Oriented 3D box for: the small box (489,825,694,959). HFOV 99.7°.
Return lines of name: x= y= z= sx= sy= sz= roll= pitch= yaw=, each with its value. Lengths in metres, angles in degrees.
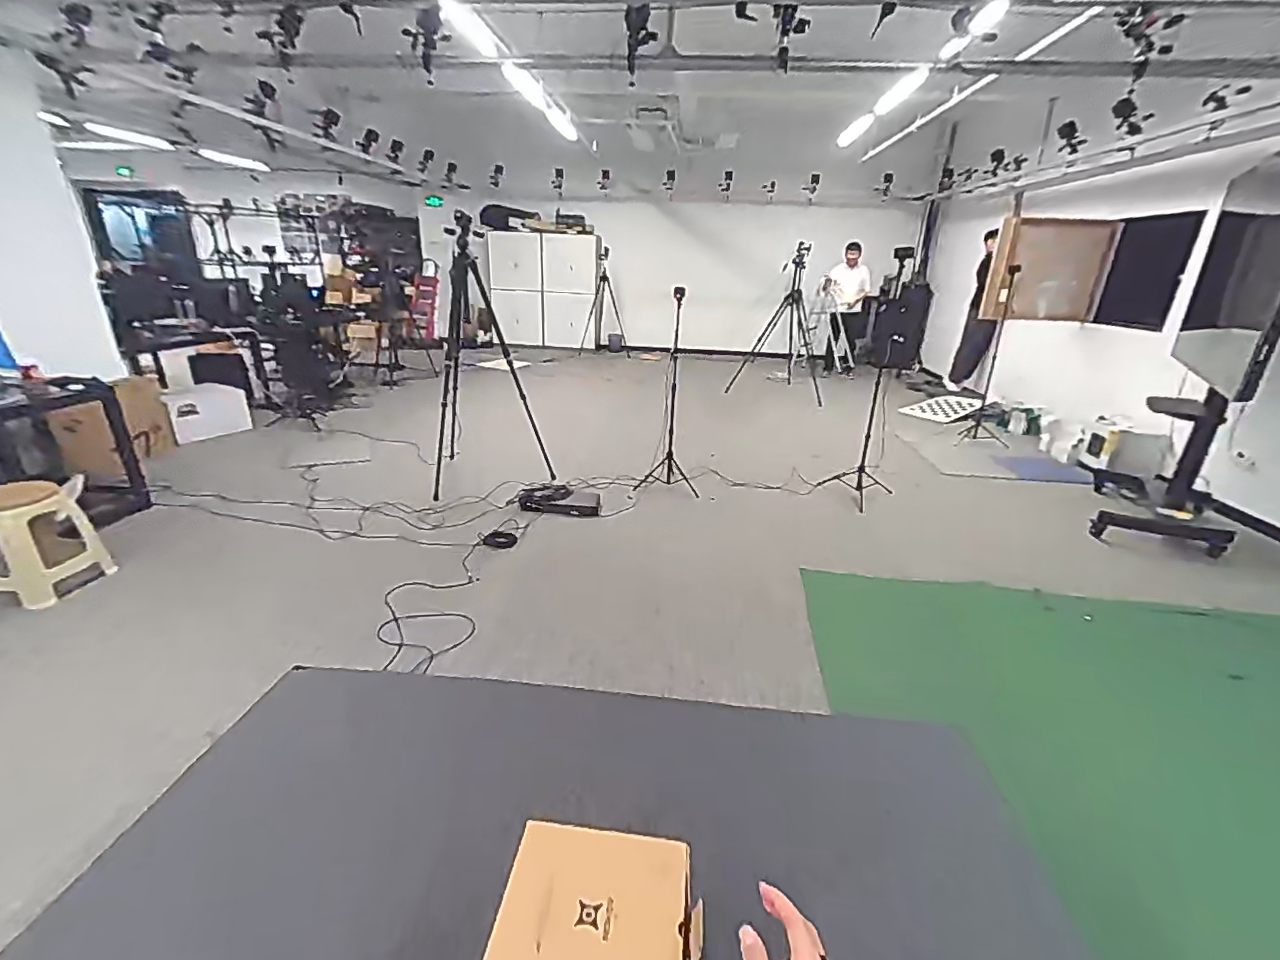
small box: x=-0.042 y=0.479 z=0.521 sx=0.179 sy=0.176 sz=0.168 roll=3 pitch=19 yaw=6
